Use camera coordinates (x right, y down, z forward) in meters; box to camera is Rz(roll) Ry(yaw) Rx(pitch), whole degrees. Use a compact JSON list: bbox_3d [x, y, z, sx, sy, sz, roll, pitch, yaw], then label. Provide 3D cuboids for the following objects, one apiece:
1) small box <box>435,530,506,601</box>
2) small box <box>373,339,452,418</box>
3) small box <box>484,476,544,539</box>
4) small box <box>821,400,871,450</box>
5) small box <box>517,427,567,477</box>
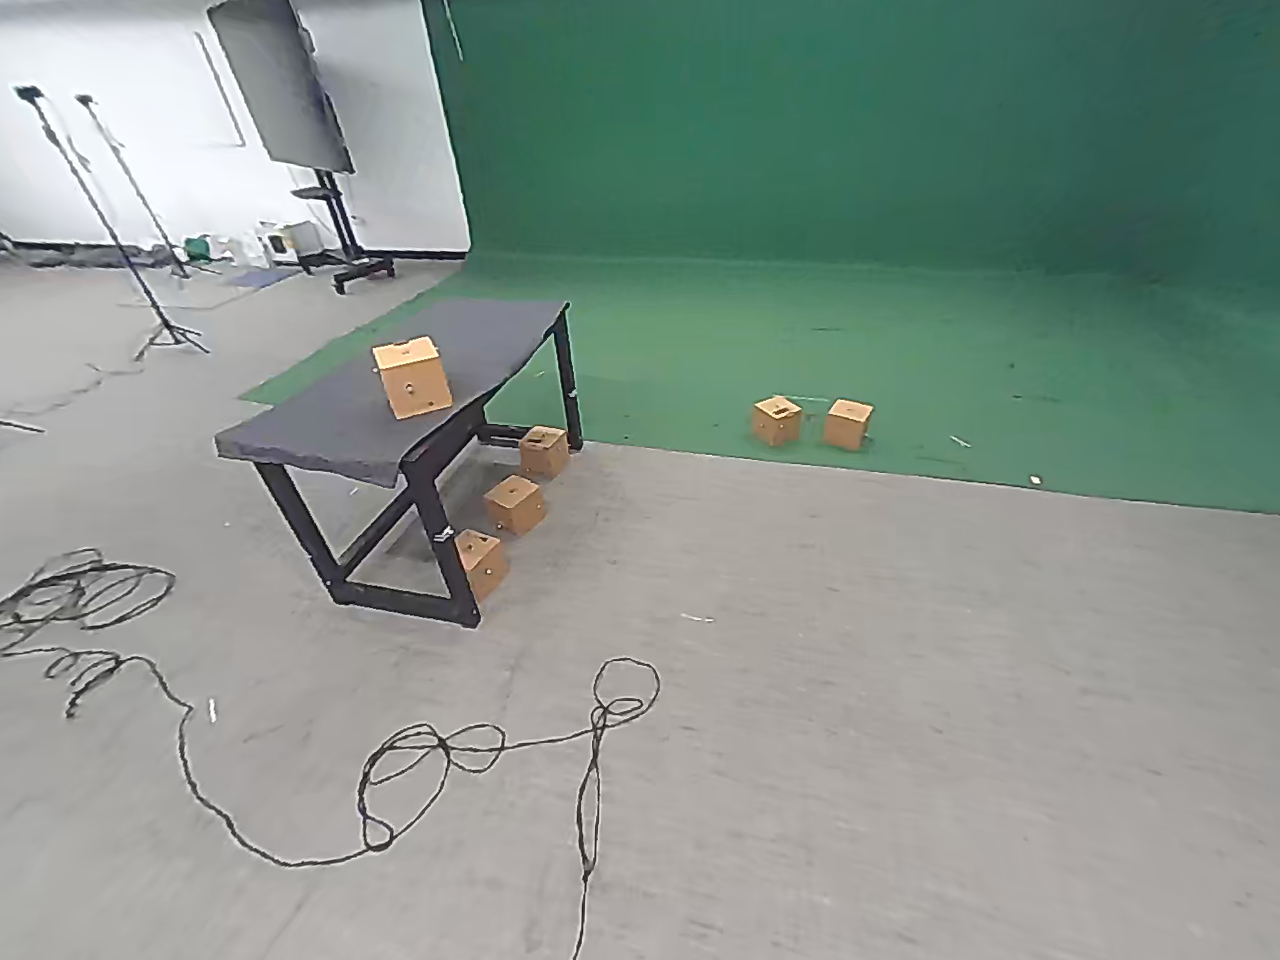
[{"bbox_3d":[-0.620,0.320,2.011,0.168,0.176,0.179,15,42,22],"label":"small box"},{"bbox_3d":[-0.683,-0.302,1.630,0.168,0.176,0.179,-20,40,-21],"label":"small box"},{"bbox_3d":[-0.523,0.114,2.273,0.168,0.176,0.179,20,44,28],"label":"small box"},{"bbox_3d":[1.013,-0.271,2.668,0.179,0.176,0.168,21,44,27],"label":"small box"},{"bbox_3d":[-0.462,-0.132,2.590,0.168,0.176,0.179,11,38,16],"label":"small box"}]
